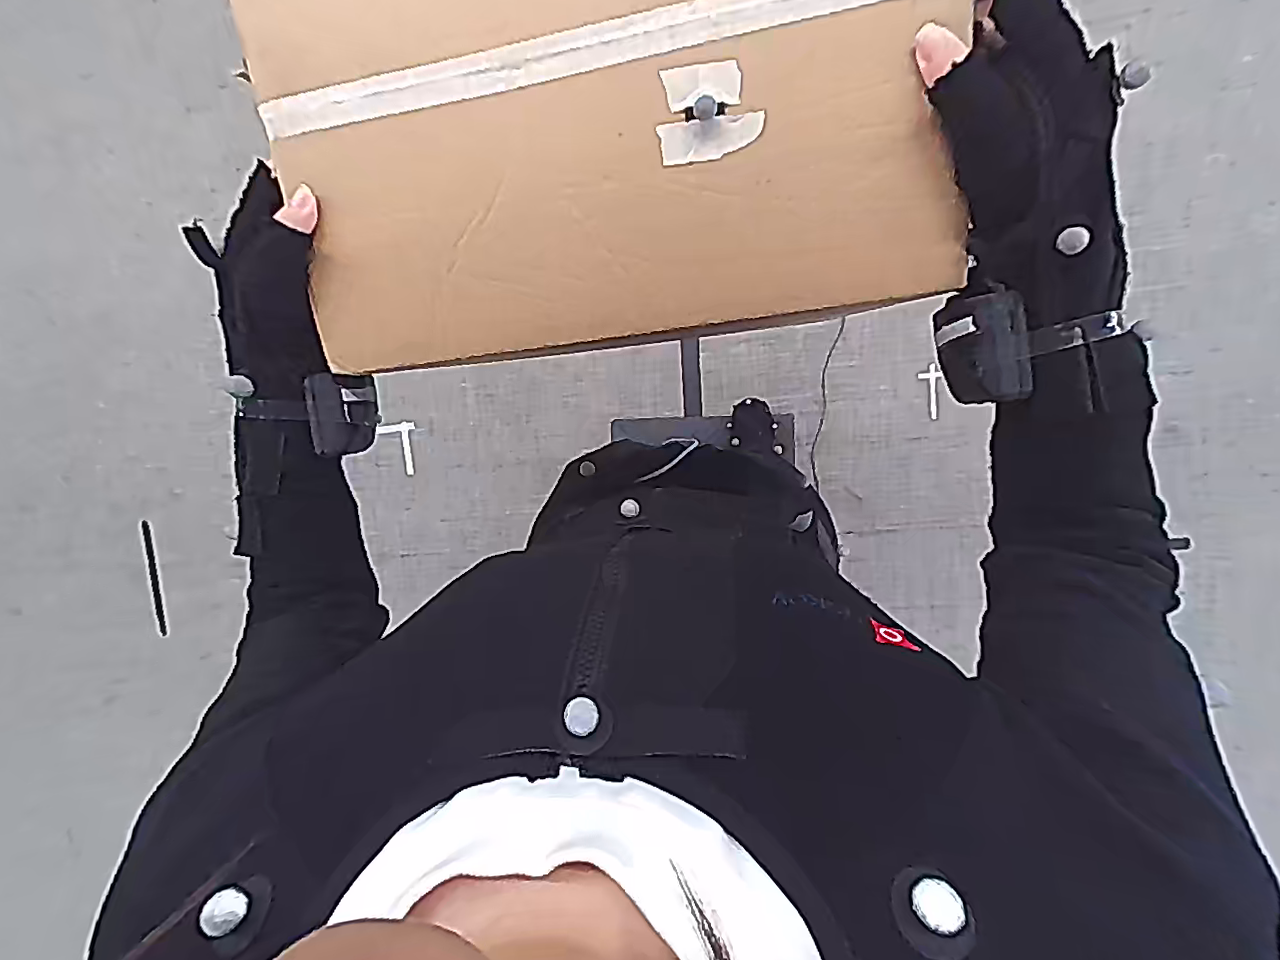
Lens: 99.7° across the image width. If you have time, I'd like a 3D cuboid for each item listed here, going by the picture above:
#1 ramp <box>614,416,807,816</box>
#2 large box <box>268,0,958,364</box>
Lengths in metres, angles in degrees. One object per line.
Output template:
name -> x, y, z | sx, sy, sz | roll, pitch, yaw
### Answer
ramp -> 0.170, 0.331, 1.417 | 0.509, 0.206, 0.991 | -2, 94, 12
large box -> -0.010, -0.287, 0.463 | 0.408, 0.320, 0.320 | -6, 104, 9
